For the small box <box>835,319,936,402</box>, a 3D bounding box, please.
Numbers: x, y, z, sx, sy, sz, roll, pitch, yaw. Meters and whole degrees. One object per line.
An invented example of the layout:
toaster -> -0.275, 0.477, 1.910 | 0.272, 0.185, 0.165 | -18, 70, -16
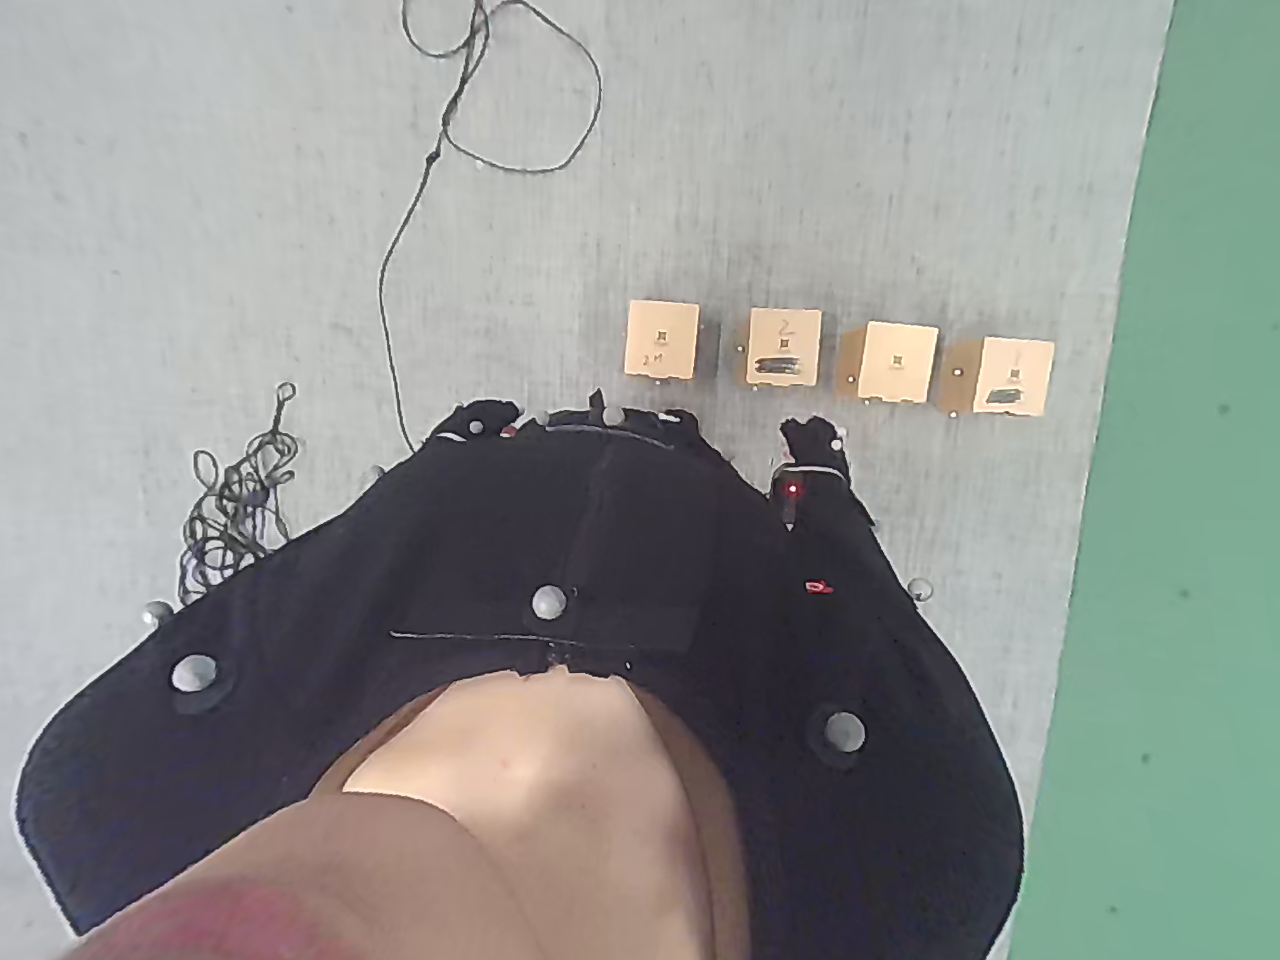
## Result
small box -> 0.597, -0.290, 1.337 | 0.168, 0.176, 0.179 | 5, 99, 0

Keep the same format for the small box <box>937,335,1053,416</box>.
small box -> 0.864, -0.254, 1.335 | 0.168, 0.176, 0.179 | 5, 98, 1

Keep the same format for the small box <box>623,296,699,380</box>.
small box -> 0.051, -0.345, 1.342 | 0.168, 0.176, 0.179 | 5, 99, 2
